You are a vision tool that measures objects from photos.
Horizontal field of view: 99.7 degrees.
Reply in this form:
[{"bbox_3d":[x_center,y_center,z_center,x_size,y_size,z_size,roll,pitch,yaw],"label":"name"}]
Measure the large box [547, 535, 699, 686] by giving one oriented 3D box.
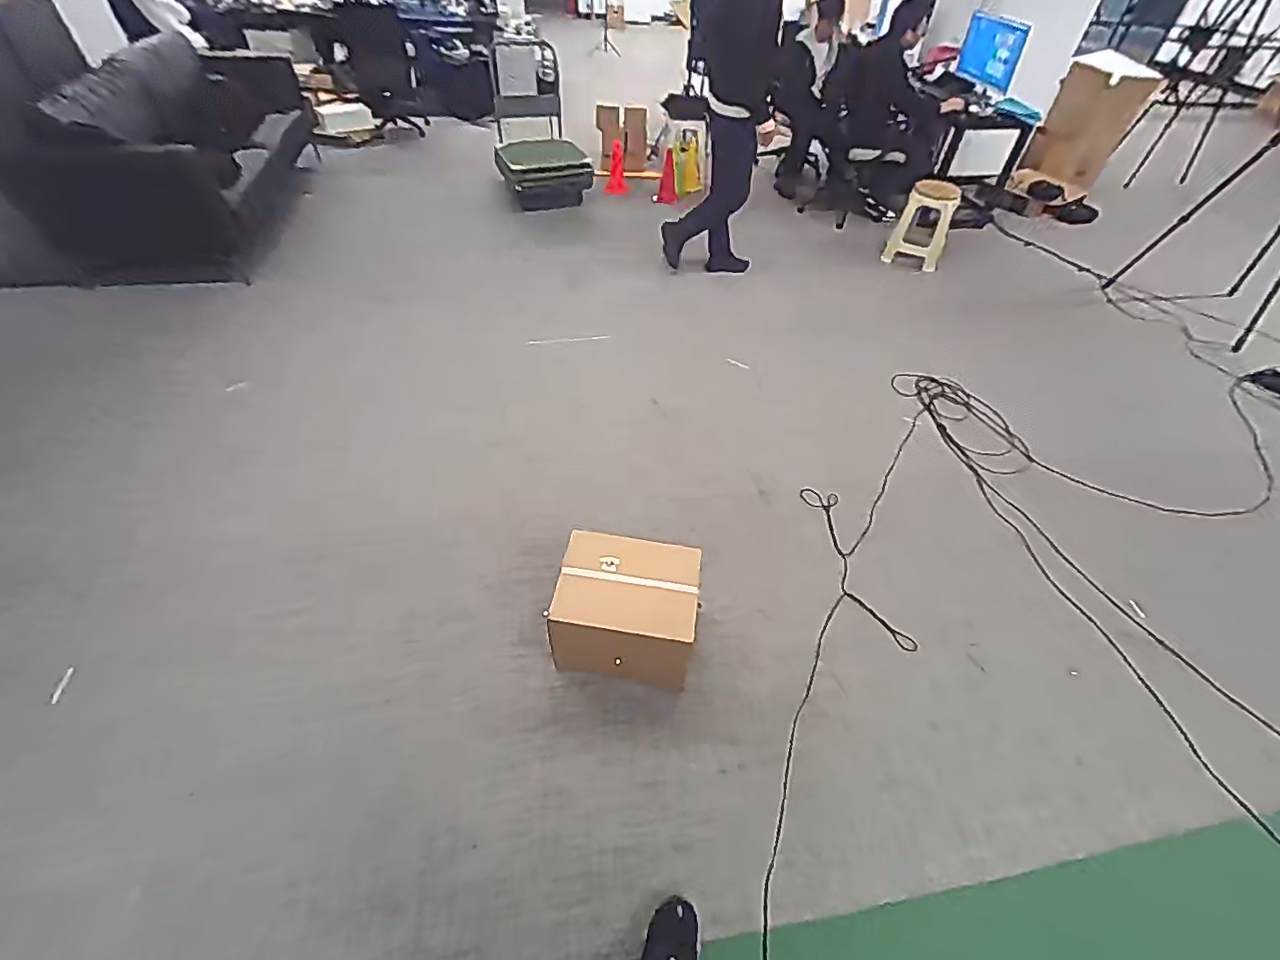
[{"bbox_3d":[-0.038,0.404,1.662,0.408,0.320,0.320,7,47,5],"label":"large box"}]
